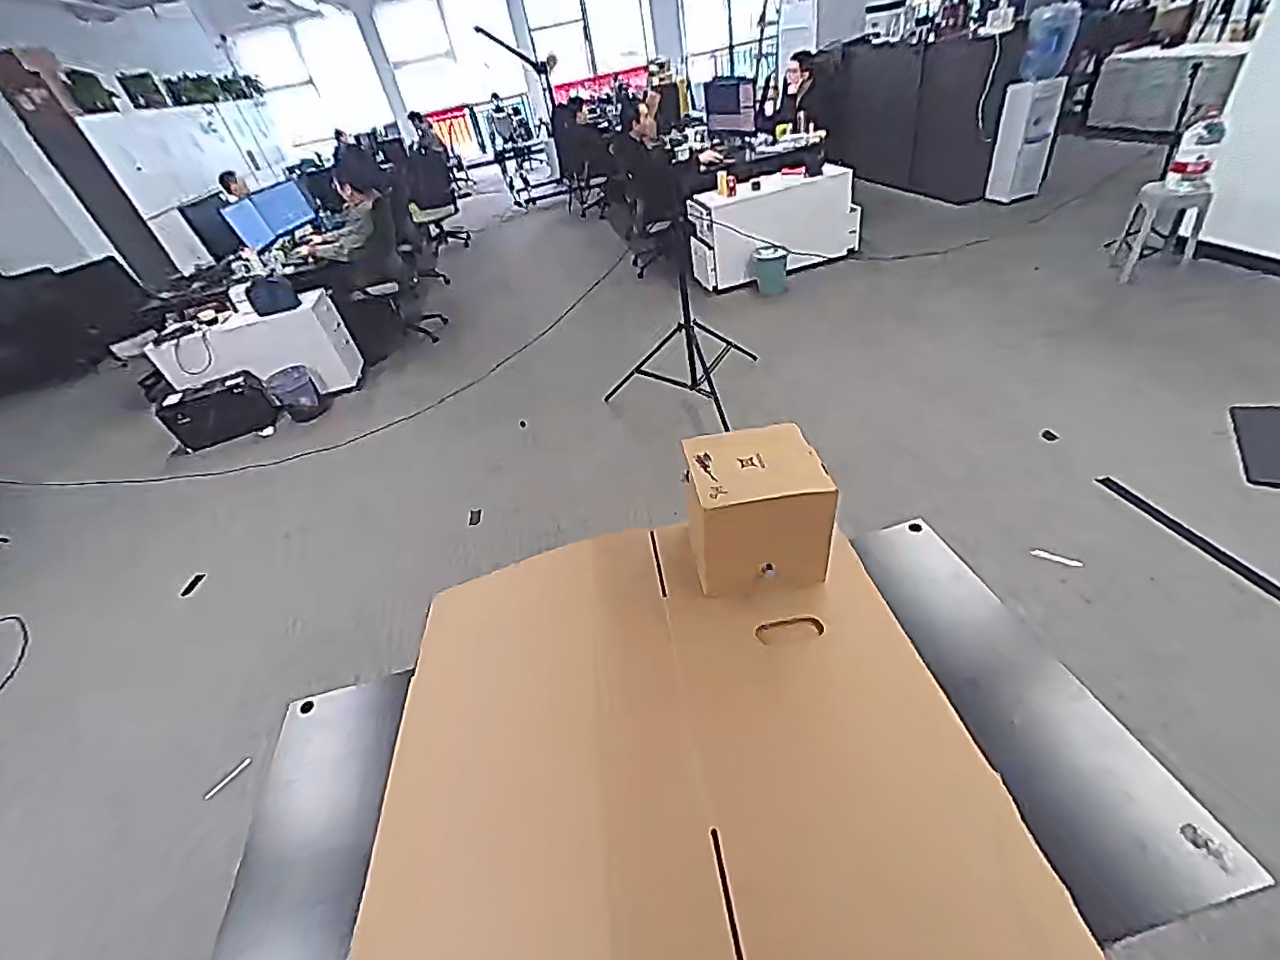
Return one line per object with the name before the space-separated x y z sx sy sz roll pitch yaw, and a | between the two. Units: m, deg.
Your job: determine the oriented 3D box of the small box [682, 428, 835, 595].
small box | 0.161 0.046 0.790 0.179 0.176 0.168 -8 36 -2
